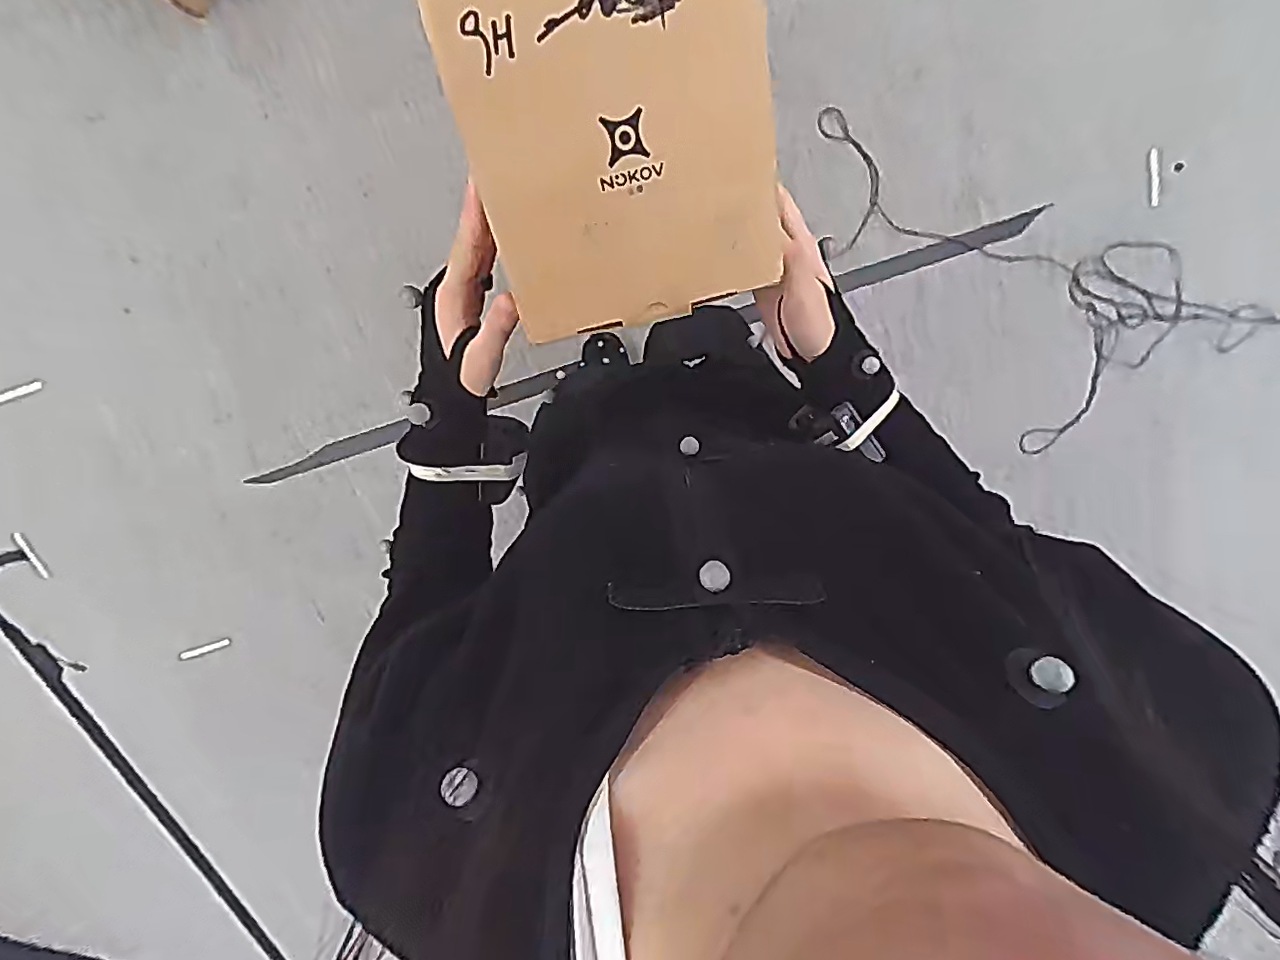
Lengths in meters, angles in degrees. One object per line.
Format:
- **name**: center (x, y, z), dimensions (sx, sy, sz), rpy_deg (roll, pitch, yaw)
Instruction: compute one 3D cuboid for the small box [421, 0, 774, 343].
- **small box**: center (-0.020, -0.215, 0.364), dimensions (0.168, 0.176, 0.179), rpy_deg (-15, 121, -2)
